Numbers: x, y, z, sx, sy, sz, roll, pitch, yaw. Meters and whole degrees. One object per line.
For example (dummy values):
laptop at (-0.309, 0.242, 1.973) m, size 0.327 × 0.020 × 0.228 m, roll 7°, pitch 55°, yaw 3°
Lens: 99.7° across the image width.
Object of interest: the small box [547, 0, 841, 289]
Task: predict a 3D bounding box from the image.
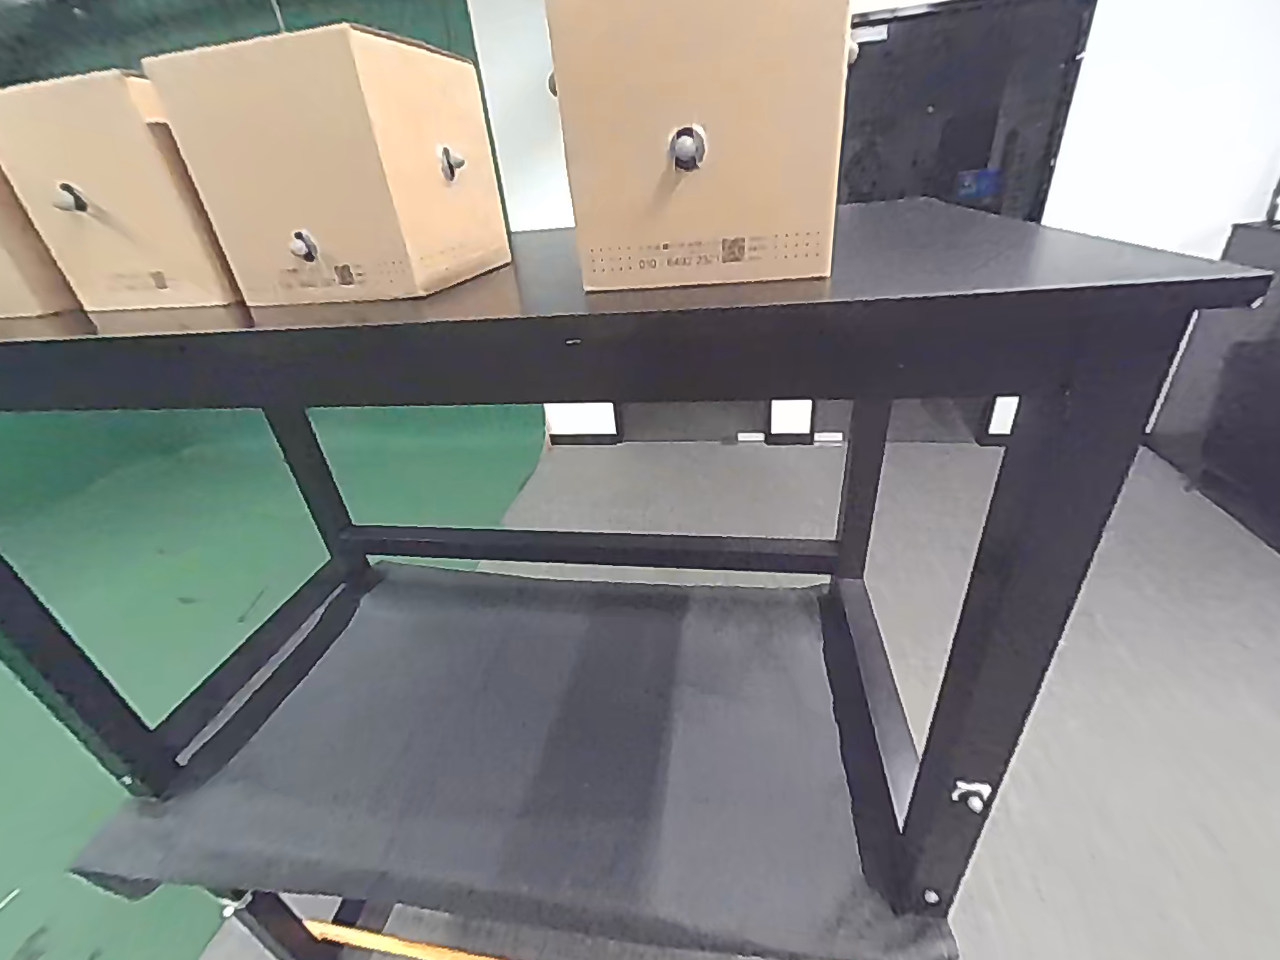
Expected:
small box at (0.049, -0.240, 0.397) m, size 0.168 × 0.176 × 0.179 m, roll 1°, pitch 30°, yaw 11°

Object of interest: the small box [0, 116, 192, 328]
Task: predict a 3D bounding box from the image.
small box at (-0.615, -0.261, 0.553) m, size 0.168 × 0.176 × 0.179 m, roll 1°, pitch 31°, yaw 12°
